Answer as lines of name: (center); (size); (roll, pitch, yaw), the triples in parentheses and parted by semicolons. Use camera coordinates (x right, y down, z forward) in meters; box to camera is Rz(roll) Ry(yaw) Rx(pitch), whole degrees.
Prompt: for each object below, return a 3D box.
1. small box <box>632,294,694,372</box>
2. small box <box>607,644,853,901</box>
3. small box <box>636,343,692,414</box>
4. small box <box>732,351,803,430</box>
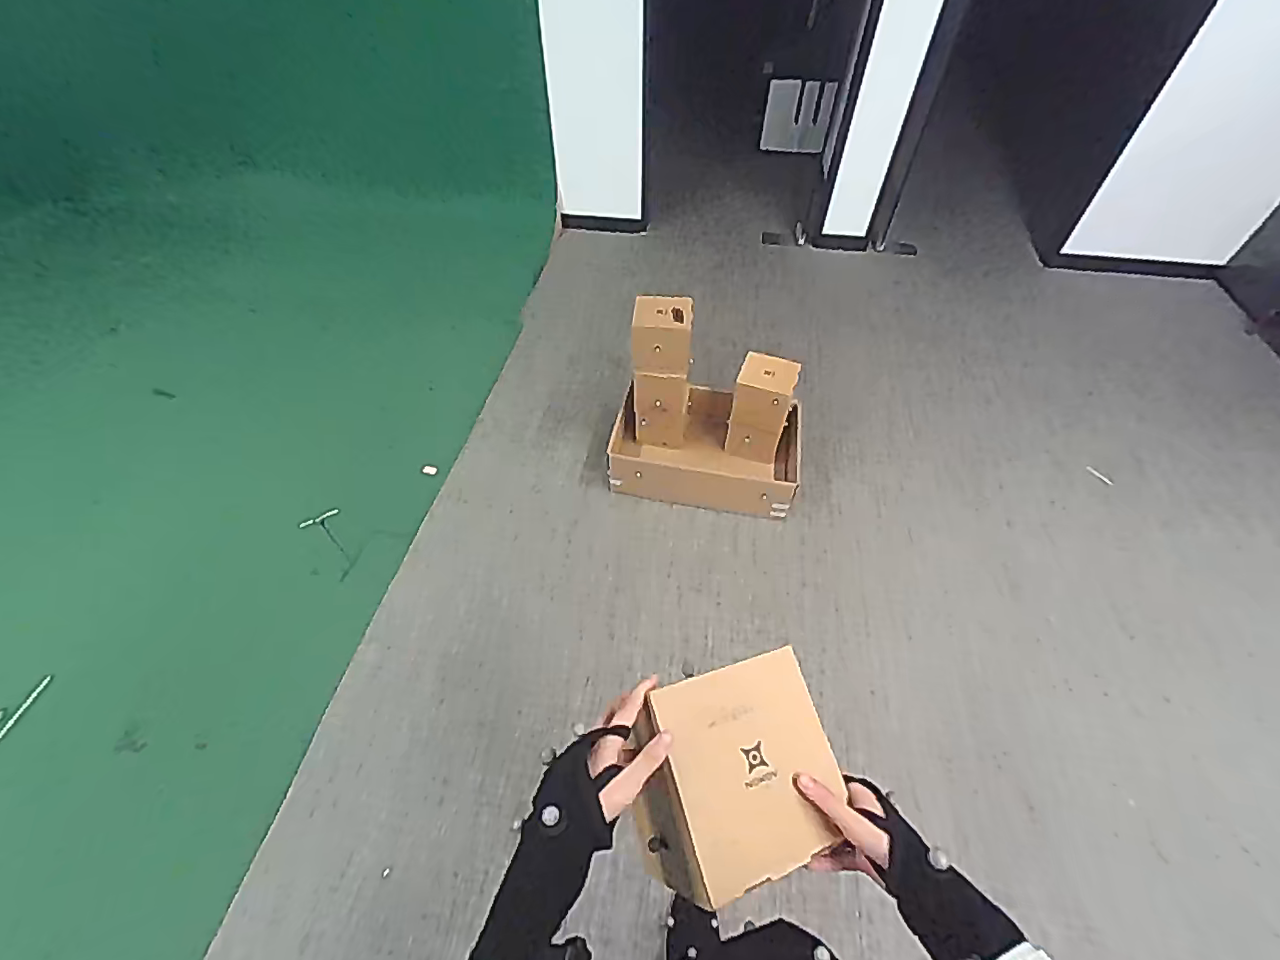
small box: (0.073, -0.451, 1.669); (0.179, 0.176, 0.168); (3, 51, 5)
small box: (0.078, 0.288, 0.566); (0.168, 0.176, 0.179); (-9, 68, -22)
small box: (0.078, -0.345, 1.794); (0.168, 0.176, 0.179); (6, 52, 6)
small box: (0.408, -0.287, 1.751); (0.179, 0.176, 0.168); (18, 54, 14)
